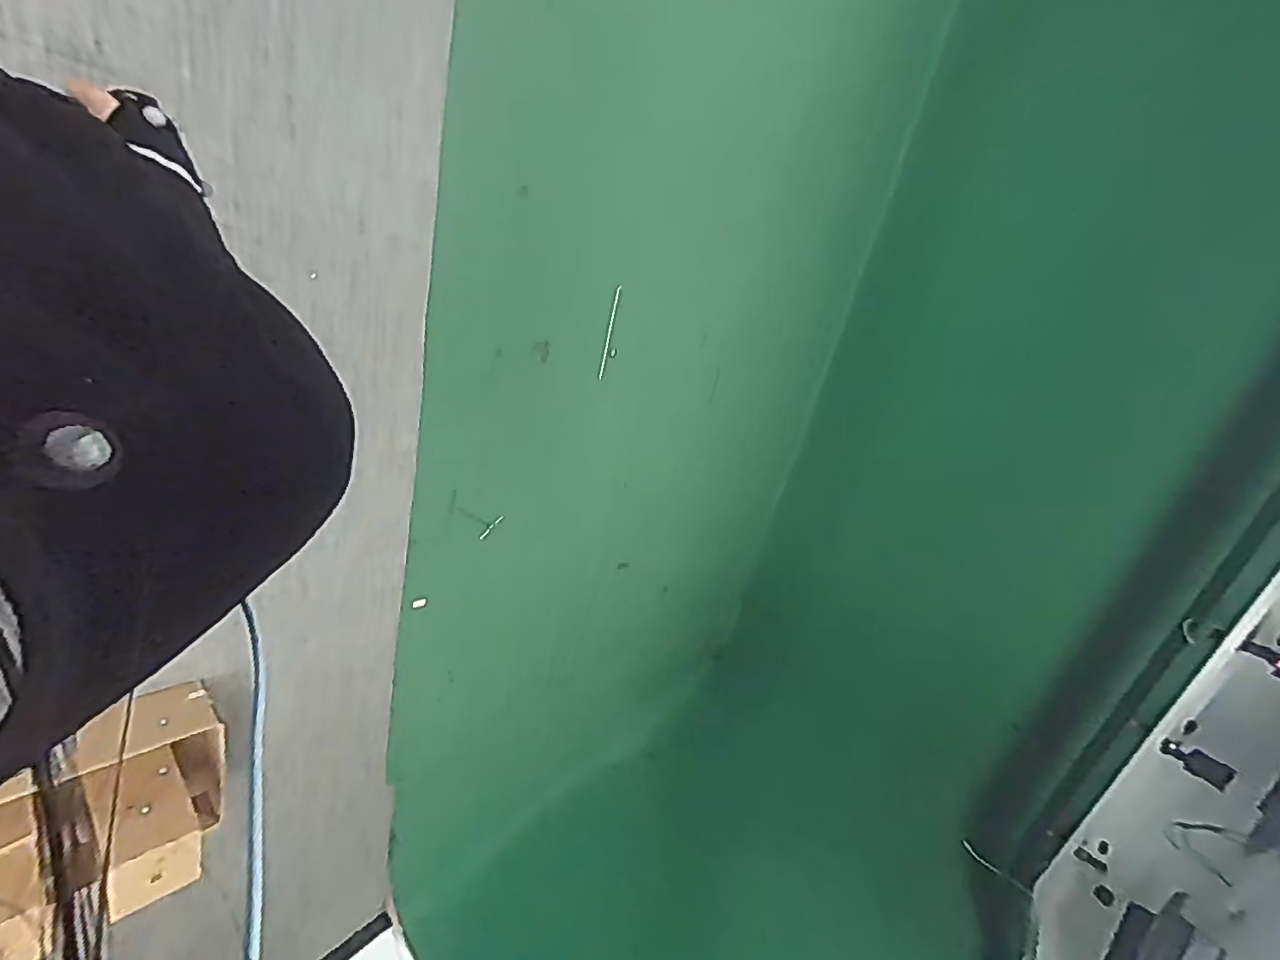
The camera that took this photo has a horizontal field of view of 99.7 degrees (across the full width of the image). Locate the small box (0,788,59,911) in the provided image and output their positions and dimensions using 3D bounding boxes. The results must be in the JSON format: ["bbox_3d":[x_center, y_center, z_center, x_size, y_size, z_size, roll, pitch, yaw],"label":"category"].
[{"bbox_3d":[-1.430,0.828,1.187,0.179,0.176,0.168,-14,123,-50],"label":"small box"}]

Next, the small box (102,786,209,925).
[{"bbox_3d":[-1.155,0.882,1.290,0.168,0.176,0.179,-7,118,-51],"label":"small box"}]
